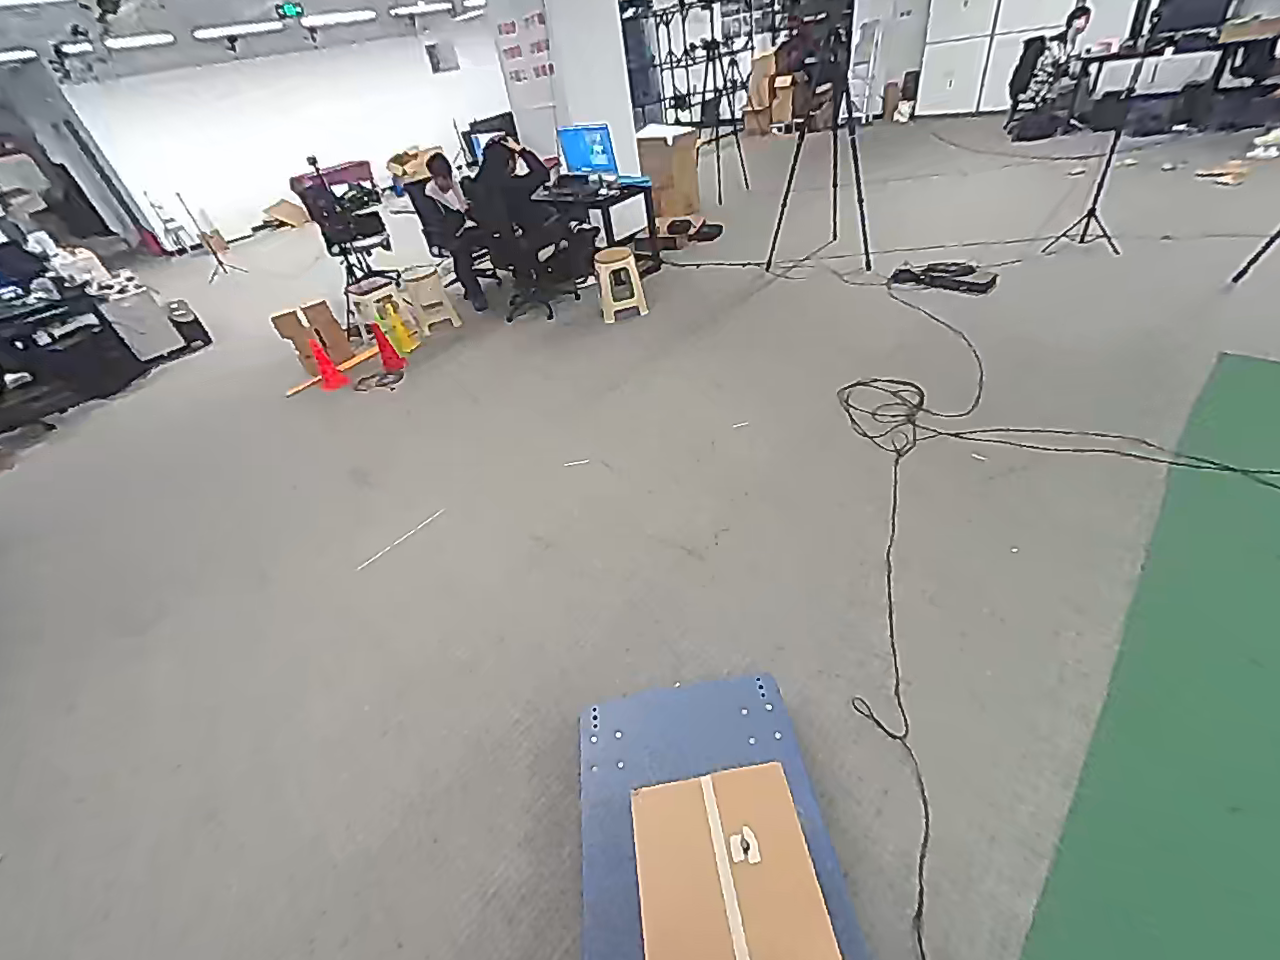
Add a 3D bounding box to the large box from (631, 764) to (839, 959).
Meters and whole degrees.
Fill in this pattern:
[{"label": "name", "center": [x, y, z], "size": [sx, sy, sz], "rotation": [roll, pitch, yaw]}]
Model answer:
[{"label": "large box", "center": [0.179, 0.849, 1.049], "size": [0.320, 0.320, 0.408], "rotation": [-11, 37, 0]}]
